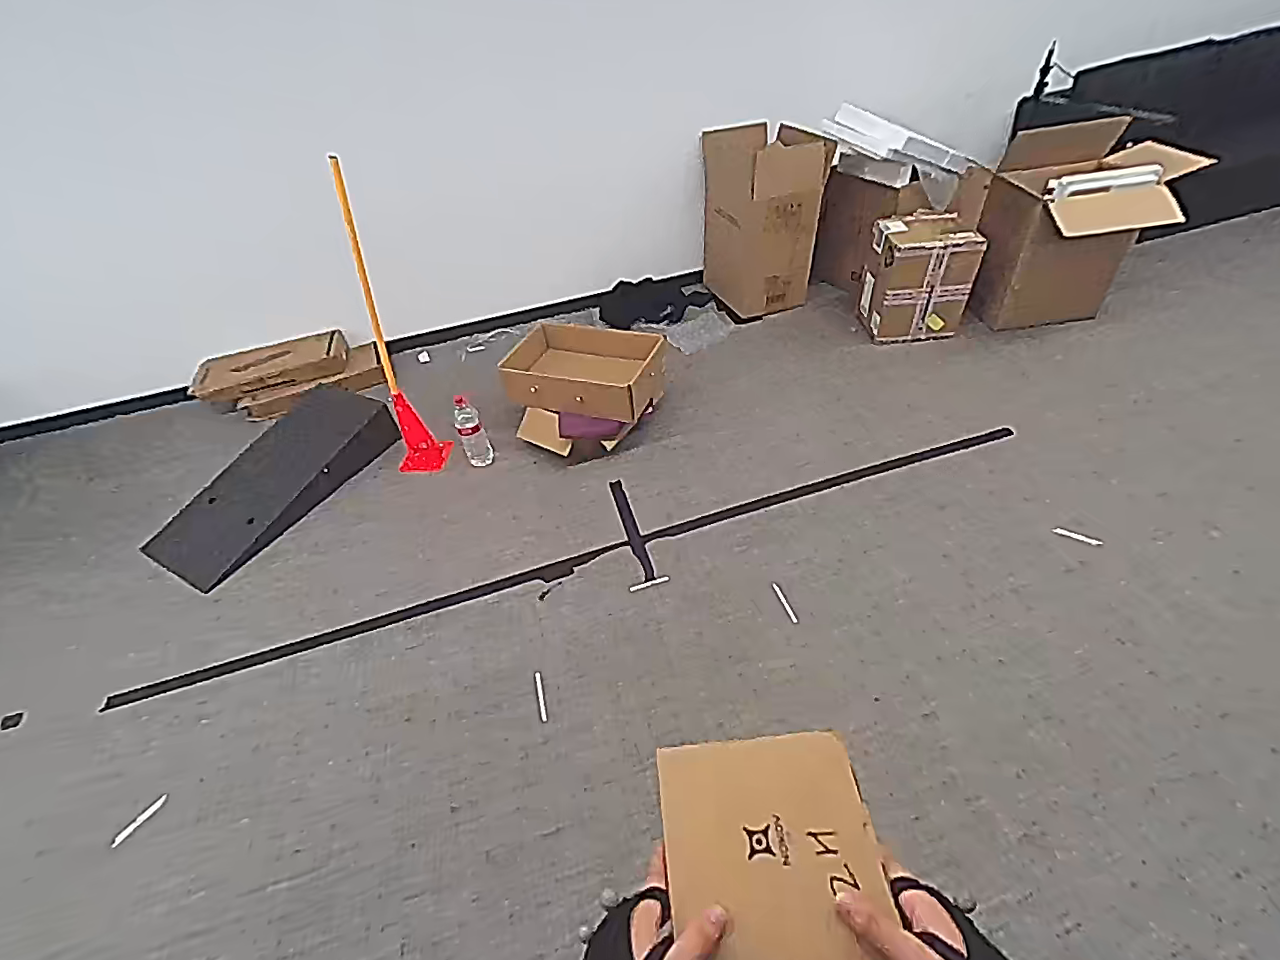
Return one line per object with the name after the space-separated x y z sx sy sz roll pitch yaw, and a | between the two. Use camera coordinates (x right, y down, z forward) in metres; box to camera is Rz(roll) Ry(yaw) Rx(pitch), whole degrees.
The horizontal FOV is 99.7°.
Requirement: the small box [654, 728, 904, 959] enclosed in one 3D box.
0.112 0.354 0.509 0.179 0.176 0.168 -6 47 0 | small box
